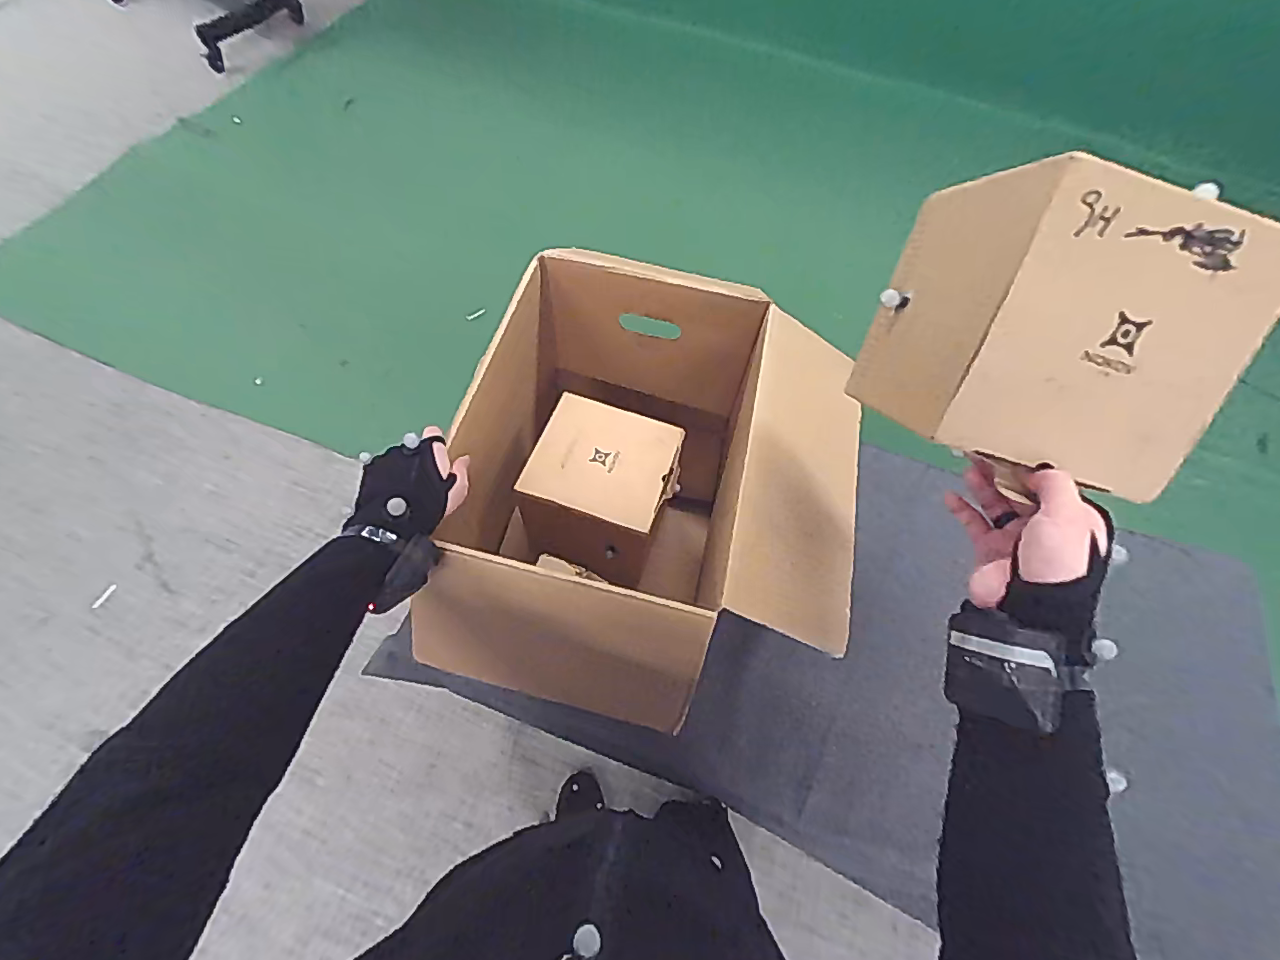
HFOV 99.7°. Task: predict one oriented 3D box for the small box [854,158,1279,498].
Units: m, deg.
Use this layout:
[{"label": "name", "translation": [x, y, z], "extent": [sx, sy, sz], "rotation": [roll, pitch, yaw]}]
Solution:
[{"label": "small box", "translation": [0.290, -0.113, 0.416], "extent": [0.168, 0.179, 0.176], "rotation": [15, 20, -5]}]
